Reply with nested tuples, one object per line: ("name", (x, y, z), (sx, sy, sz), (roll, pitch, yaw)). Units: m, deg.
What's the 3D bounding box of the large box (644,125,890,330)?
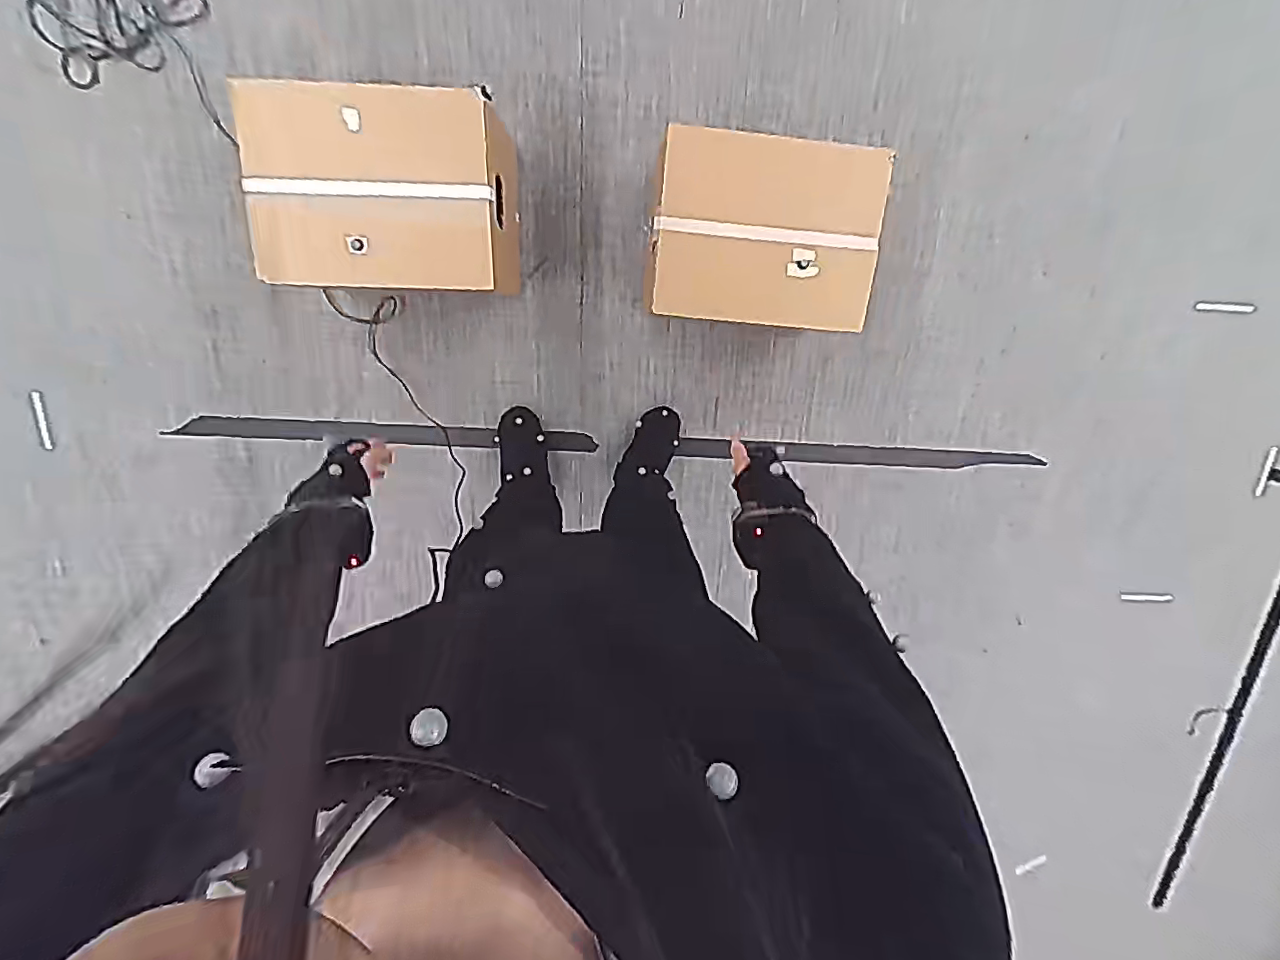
("large box", (0.225, -0.488, 1.124), (0.408, 0.320, 0.320), (4, 106, -5))
